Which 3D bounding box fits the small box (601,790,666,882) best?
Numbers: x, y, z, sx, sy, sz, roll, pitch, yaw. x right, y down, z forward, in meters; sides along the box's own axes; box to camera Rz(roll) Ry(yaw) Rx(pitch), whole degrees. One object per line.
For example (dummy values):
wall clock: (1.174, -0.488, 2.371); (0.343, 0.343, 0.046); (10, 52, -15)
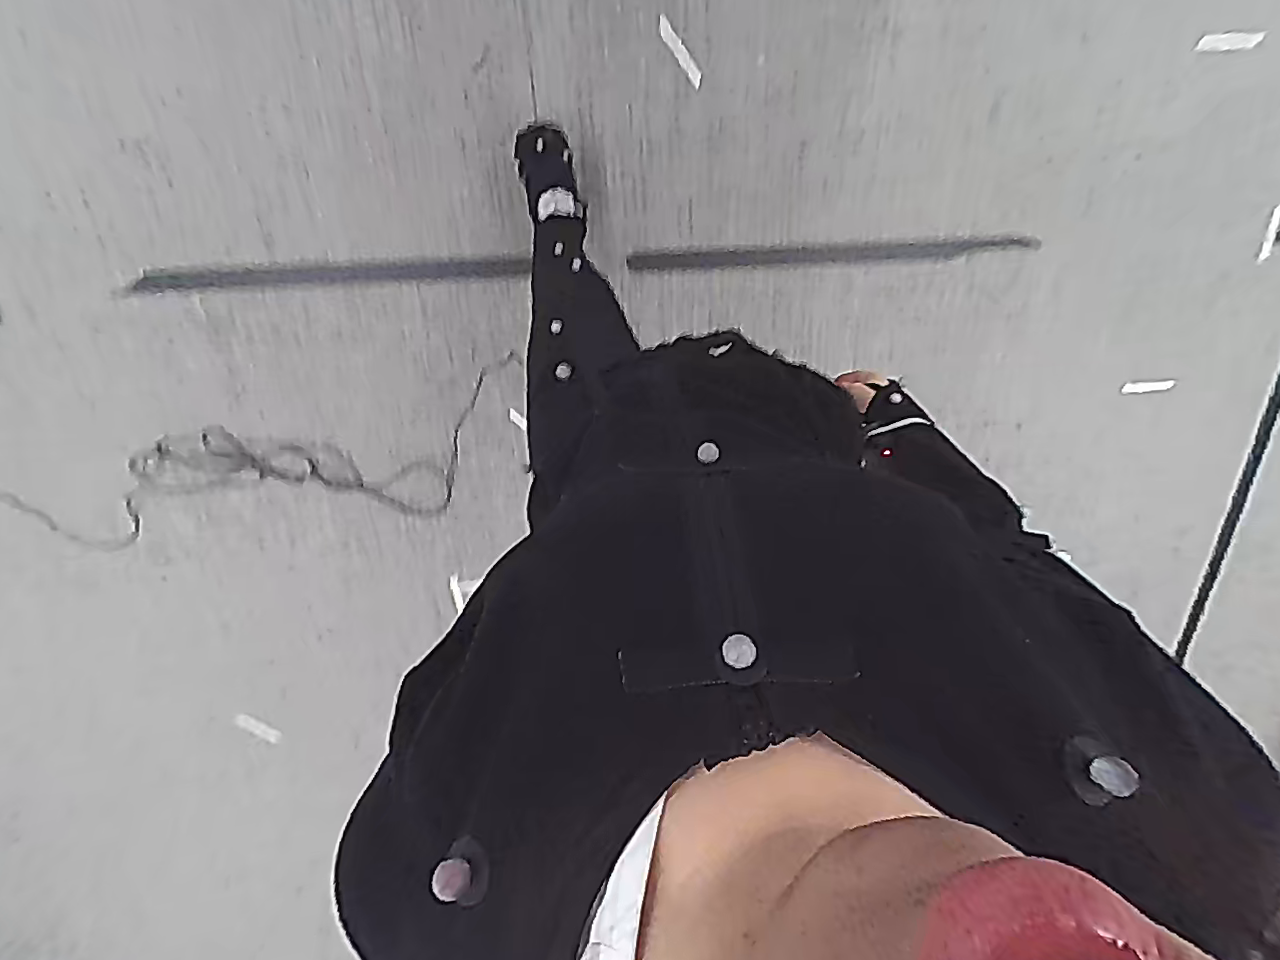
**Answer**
small box: (-0.023, 1.094, 1.674); (0.179, 0.176, 0.168); (-7, 111, -4)
